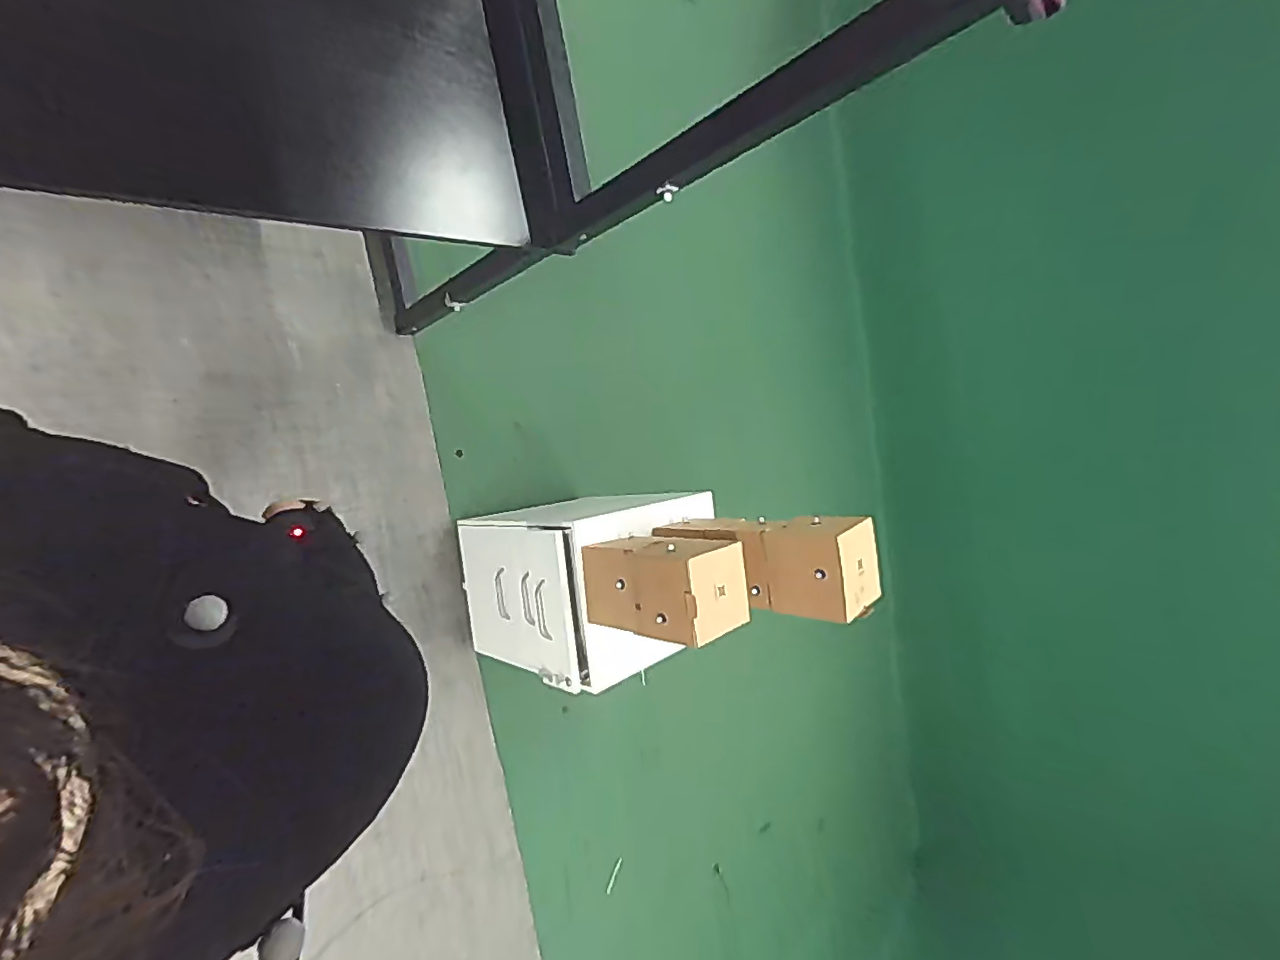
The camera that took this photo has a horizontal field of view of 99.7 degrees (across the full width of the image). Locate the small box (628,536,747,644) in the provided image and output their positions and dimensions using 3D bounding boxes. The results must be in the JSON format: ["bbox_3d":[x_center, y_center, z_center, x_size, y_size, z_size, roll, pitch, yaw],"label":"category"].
[{"bbox_3d":[0.088,0.209,1.076,0.179,0.176,0.168,-11,96,-46],"label":"small box"}]

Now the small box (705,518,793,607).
[{"bbox_3d":[0.262,0.183,1.256,0.168,0.176,0.179,-5,93,-46],"label":"small box"}]

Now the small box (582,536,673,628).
[{"bbox_3d":[-0.014,0.219,1.202,0.168,0.176,0.179,-6,93,-46],"label":"small box"}]

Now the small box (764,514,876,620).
[{"bbox_3d":[0.375,0.173,1.136,0.168,0.176,0.179,-15,100,-44],"label":"small box"}]
